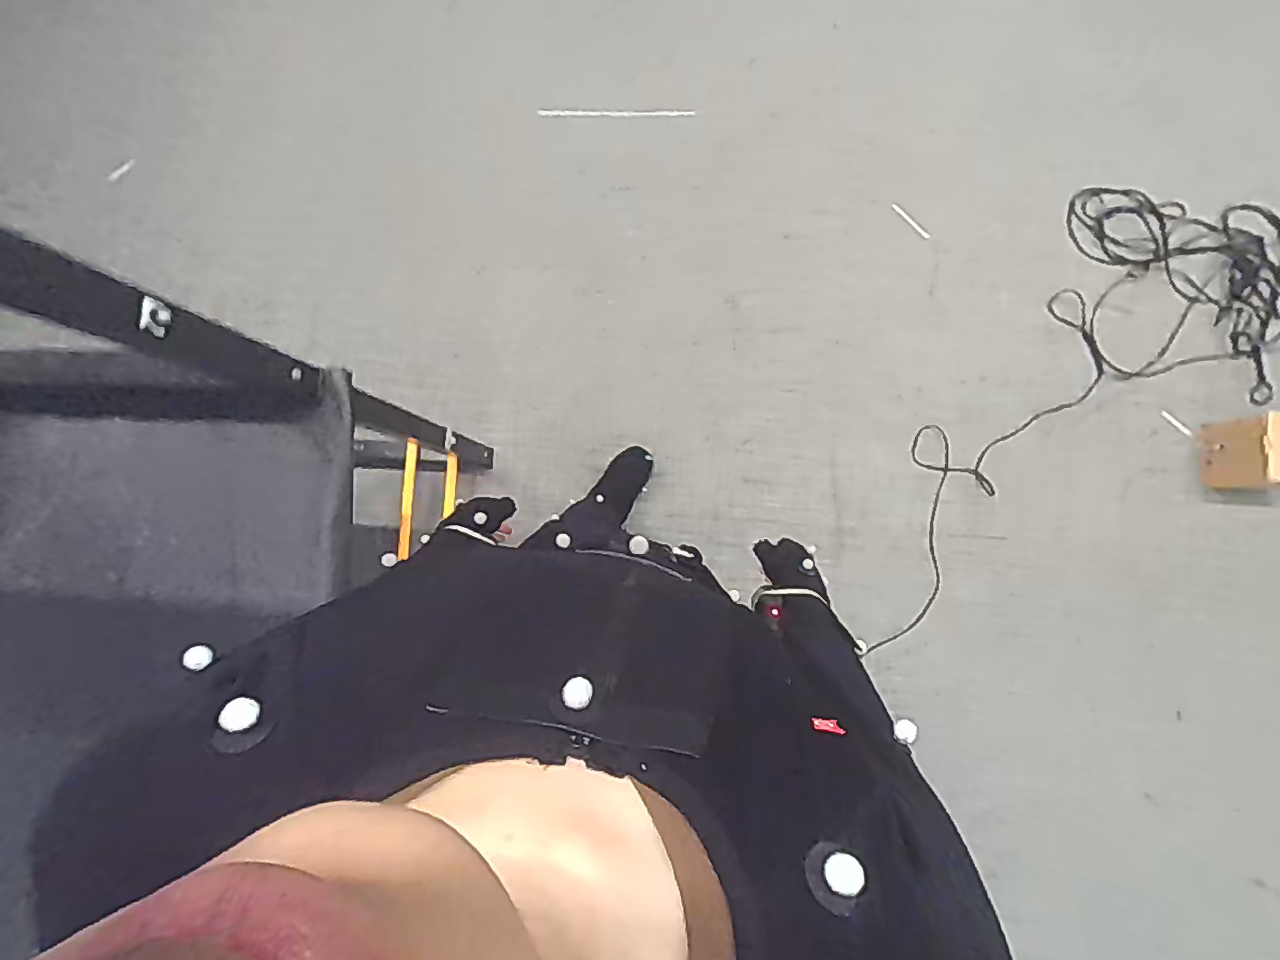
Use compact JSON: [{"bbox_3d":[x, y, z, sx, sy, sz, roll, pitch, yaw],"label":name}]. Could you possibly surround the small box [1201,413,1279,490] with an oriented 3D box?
[{"bbox_3d":[1.556,-0.065,1.332,0.179,0.176,0.168,2,84,5],"label":"small box"}]
